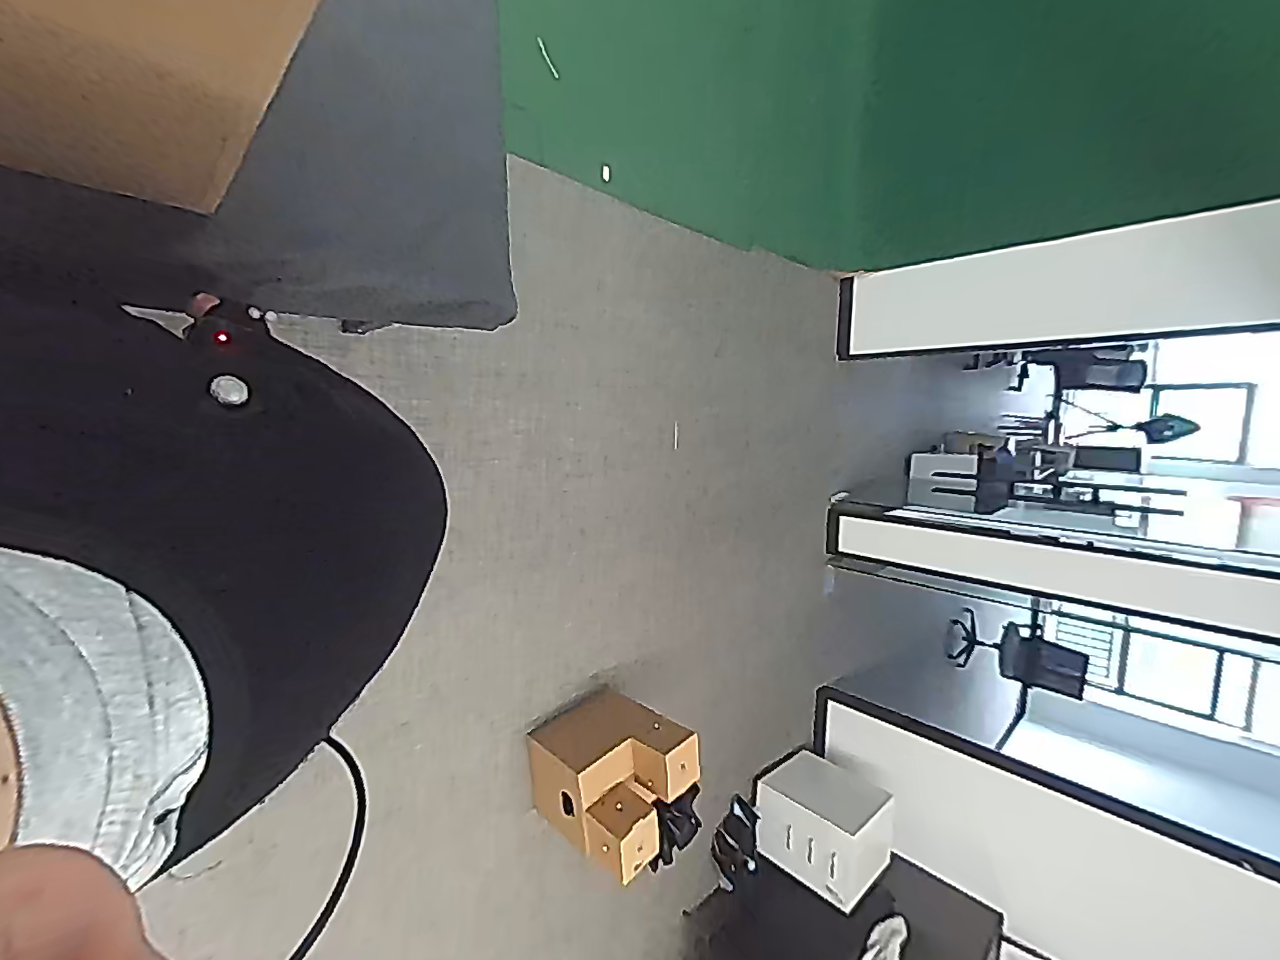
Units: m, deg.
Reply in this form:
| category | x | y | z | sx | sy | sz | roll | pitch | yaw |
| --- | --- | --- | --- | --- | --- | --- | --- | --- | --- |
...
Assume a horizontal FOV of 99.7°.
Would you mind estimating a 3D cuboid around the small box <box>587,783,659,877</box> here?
| category | x | y | z | sx | sy | sz | roll | pitch | yaw |
| --- | --- | --- | --- | --- | --- | --- | --- | --- | --- |
| small box | -0.059 | 1.136 | 1.780 | 0.168 | 0.176 | 0.179 | -17 | 109 | -42 |

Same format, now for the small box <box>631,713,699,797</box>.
| category | x | y | z | sx | sy | sz | roll | pitch | yaw |
| --- | --- | --- | --- | --- | --- | --- | --- | --- | --- |
| small box | 0.086 | 0.959 | 1.901 | 0.168 | 0.176 | 0.179 | -14 | 101 | -44 |
